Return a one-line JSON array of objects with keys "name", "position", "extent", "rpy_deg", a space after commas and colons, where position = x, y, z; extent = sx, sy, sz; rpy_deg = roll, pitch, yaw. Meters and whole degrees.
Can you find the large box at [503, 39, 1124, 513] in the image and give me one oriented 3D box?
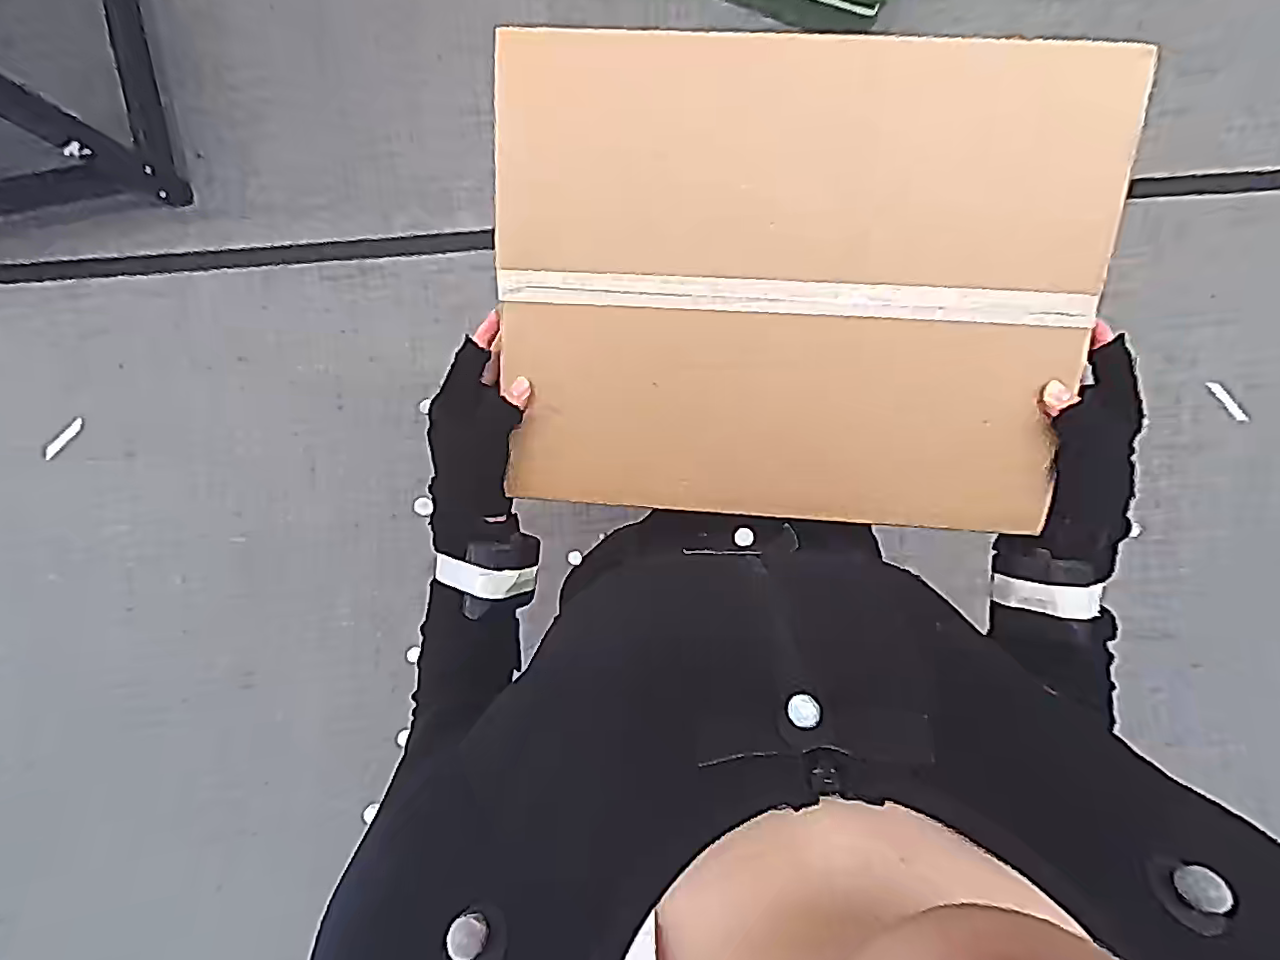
[{"name": "large box", "position": [0.108, -0.168, 0.528], "extent": [0.408, 0.320, 0.320], "rpy_deg": [4, 105, 3]}]
